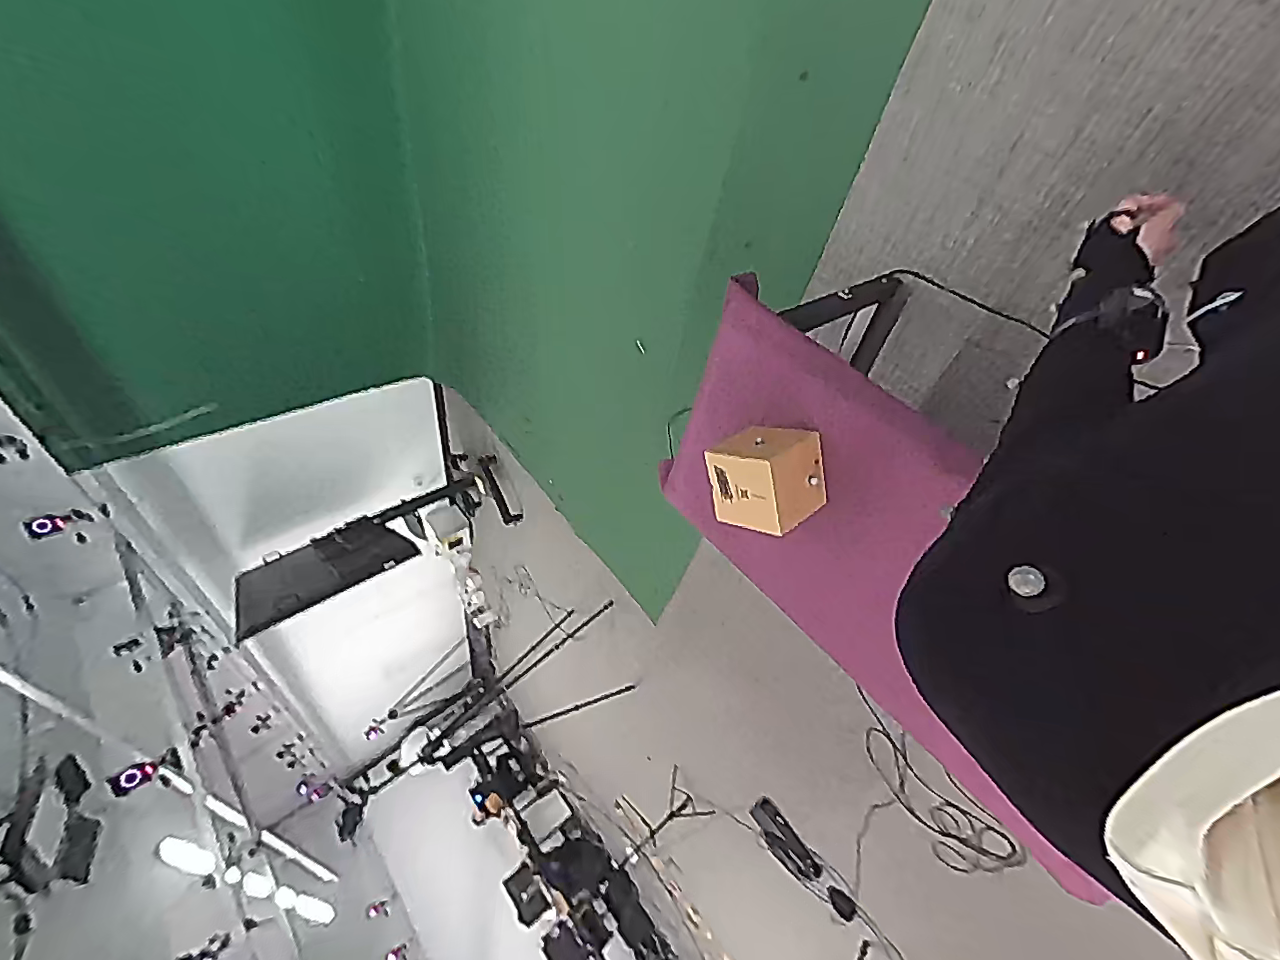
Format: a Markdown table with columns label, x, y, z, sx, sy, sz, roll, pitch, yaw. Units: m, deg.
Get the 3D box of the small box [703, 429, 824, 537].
| label | x | y | z | sx | sy | sz | roll | pitch | yaw |
| --- | --- | --- | --- | --- | --- | --- | --- | --- | --- |
| small box | 0.265 | -0.003 | 1.152 | 0.179 | 0.176 | 0.168 | 12 | 123 | 49 |
